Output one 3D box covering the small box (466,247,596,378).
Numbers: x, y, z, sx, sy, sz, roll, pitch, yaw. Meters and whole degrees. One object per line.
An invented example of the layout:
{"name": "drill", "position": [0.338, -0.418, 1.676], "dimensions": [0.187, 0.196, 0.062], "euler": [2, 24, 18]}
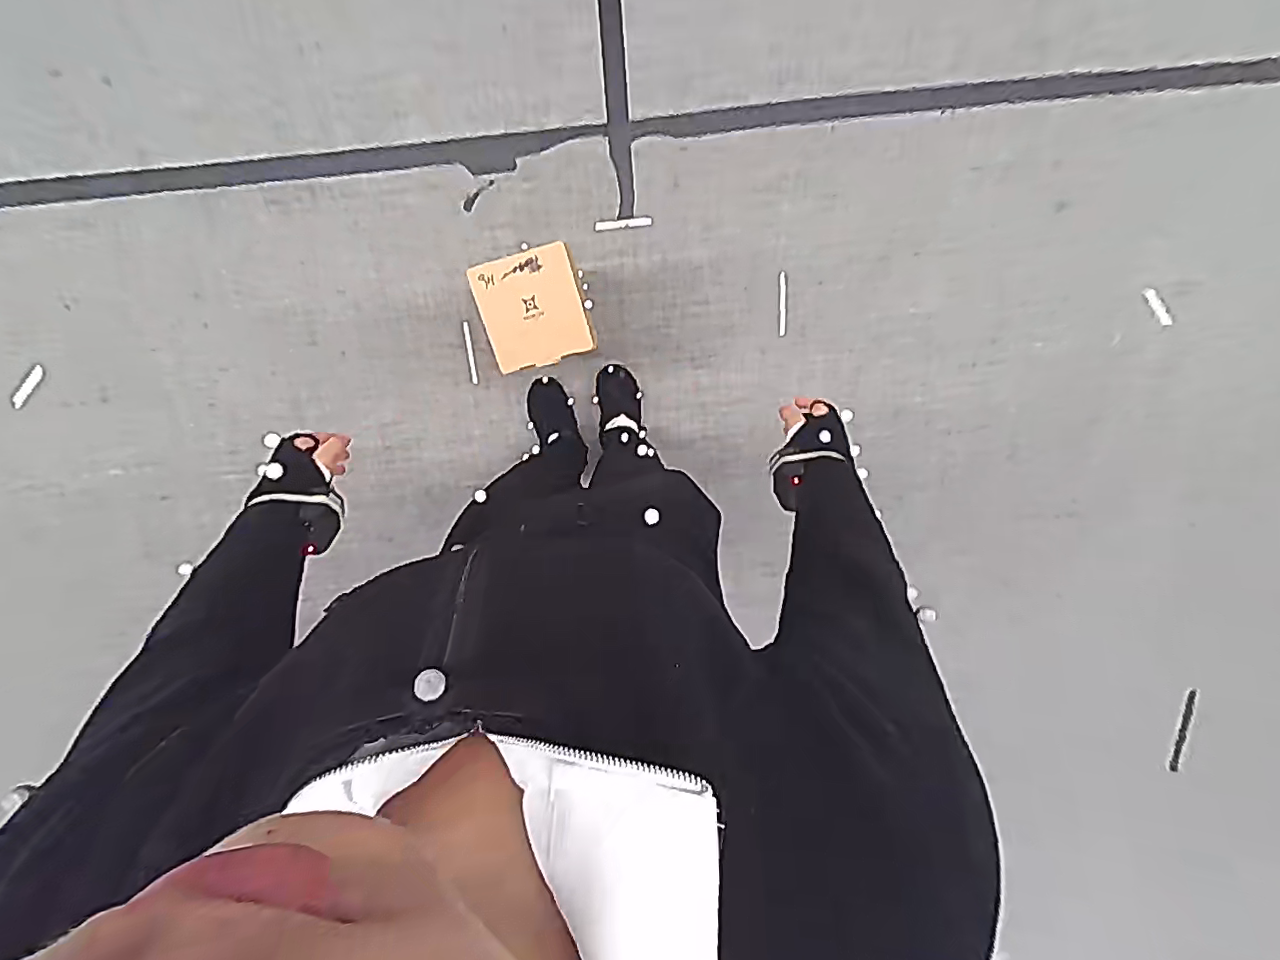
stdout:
{"name": "small box", "position": [-0.180, -0.297, 0.957], "dimensions": [0.168, 0.176, 0.179], "euler": [-15, 108, 3]}
